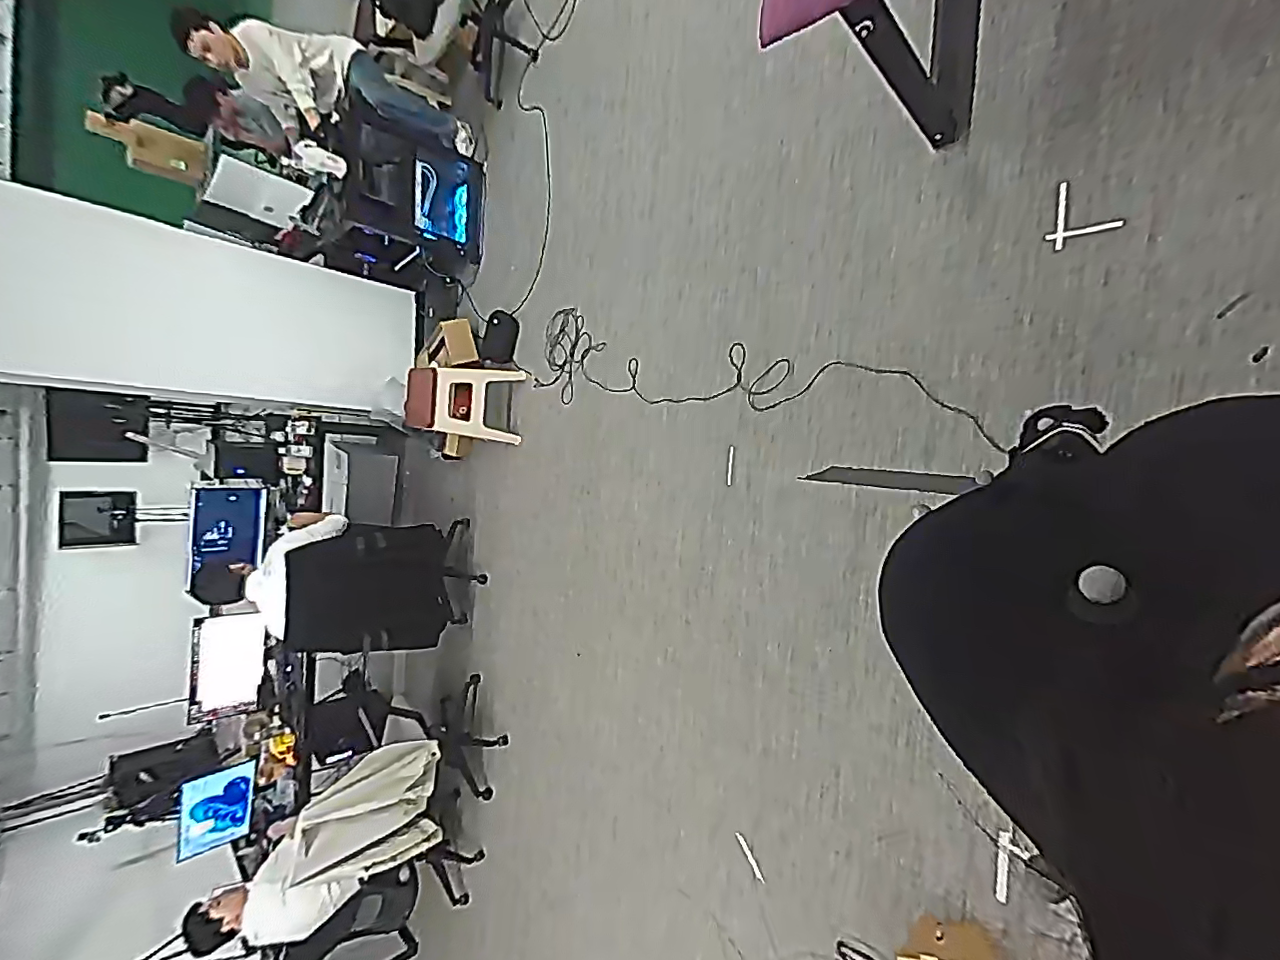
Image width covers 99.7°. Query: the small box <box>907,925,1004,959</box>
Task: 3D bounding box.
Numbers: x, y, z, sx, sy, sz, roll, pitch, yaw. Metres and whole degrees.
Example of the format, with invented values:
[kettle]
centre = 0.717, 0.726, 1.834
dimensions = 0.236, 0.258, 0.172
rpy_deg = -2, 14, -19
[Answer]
[small box]
centre = 0.776, 1.212, 1.291
dimensions = 0.168, 0.176, 0.179
rpy_deg = -31, 67, 40
